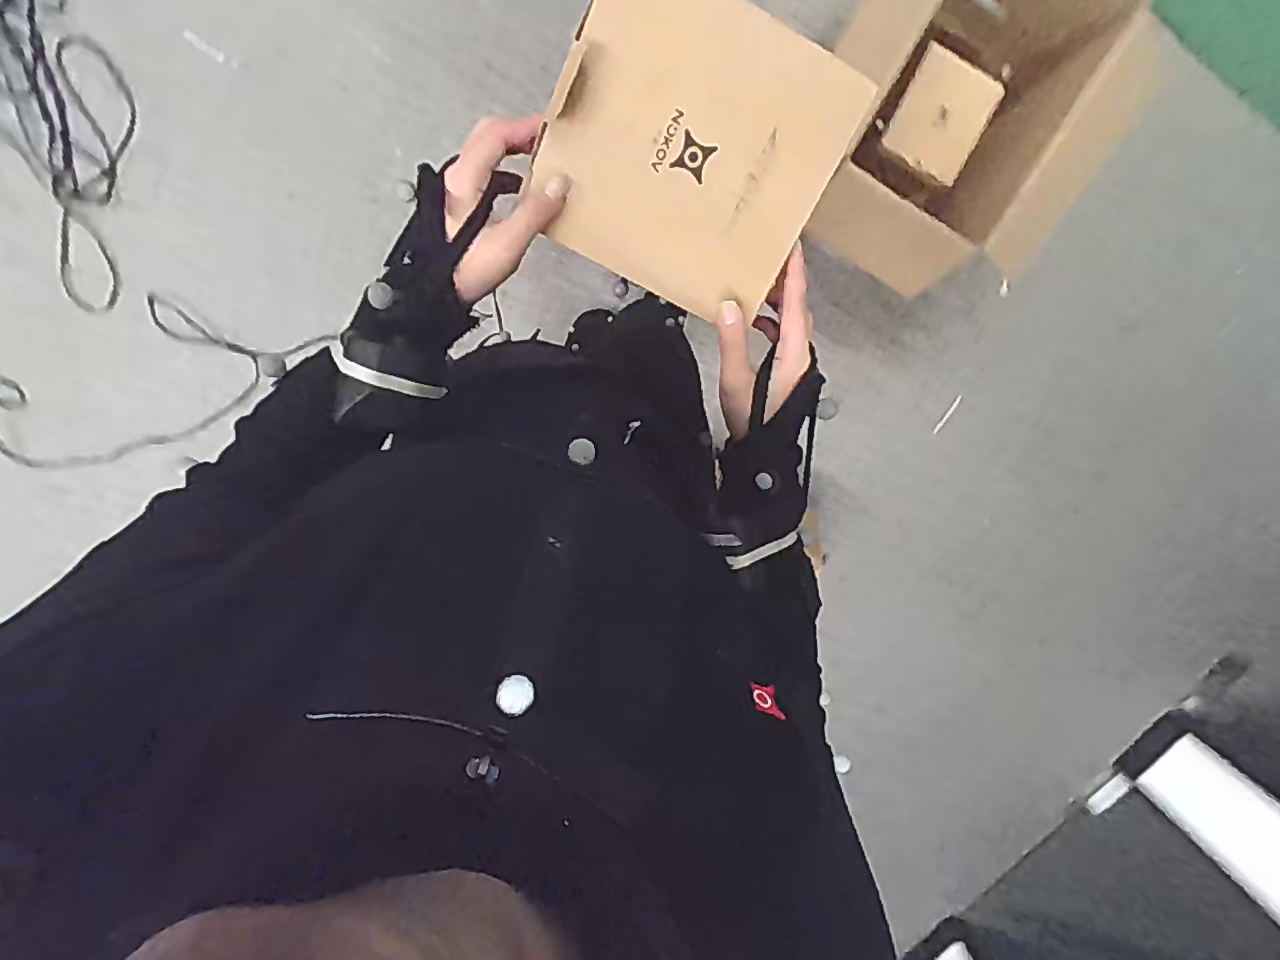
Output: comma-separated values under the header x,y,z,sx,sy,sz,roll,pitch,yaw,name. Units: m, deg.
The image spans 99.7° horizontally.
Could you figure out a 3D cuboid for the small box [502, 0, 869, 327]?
x,y,z,sx,sy,sz,roll,pitch,yaw,name
0.023,-0.231,0.404,0.179,0.176,0.168,23,110,-9,small box
